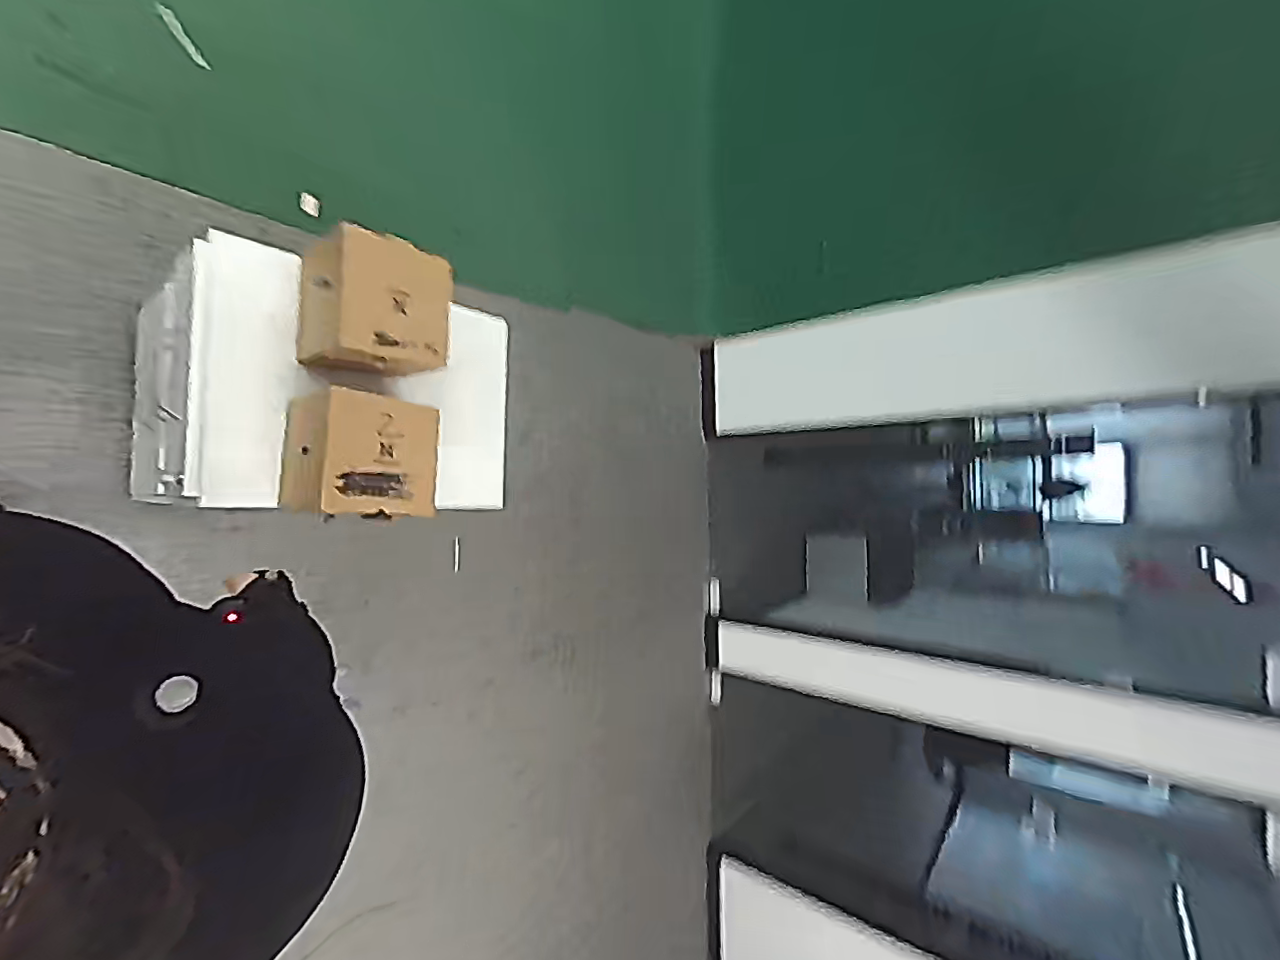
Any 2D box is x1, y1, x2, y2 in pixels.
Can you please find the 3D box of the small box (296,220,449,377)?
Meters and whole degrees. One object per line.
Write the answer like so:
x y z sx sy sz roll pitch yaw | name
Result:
-0.424 -0.272 0.858 0.168 0.176 0.179 3 88 -50 | small box
